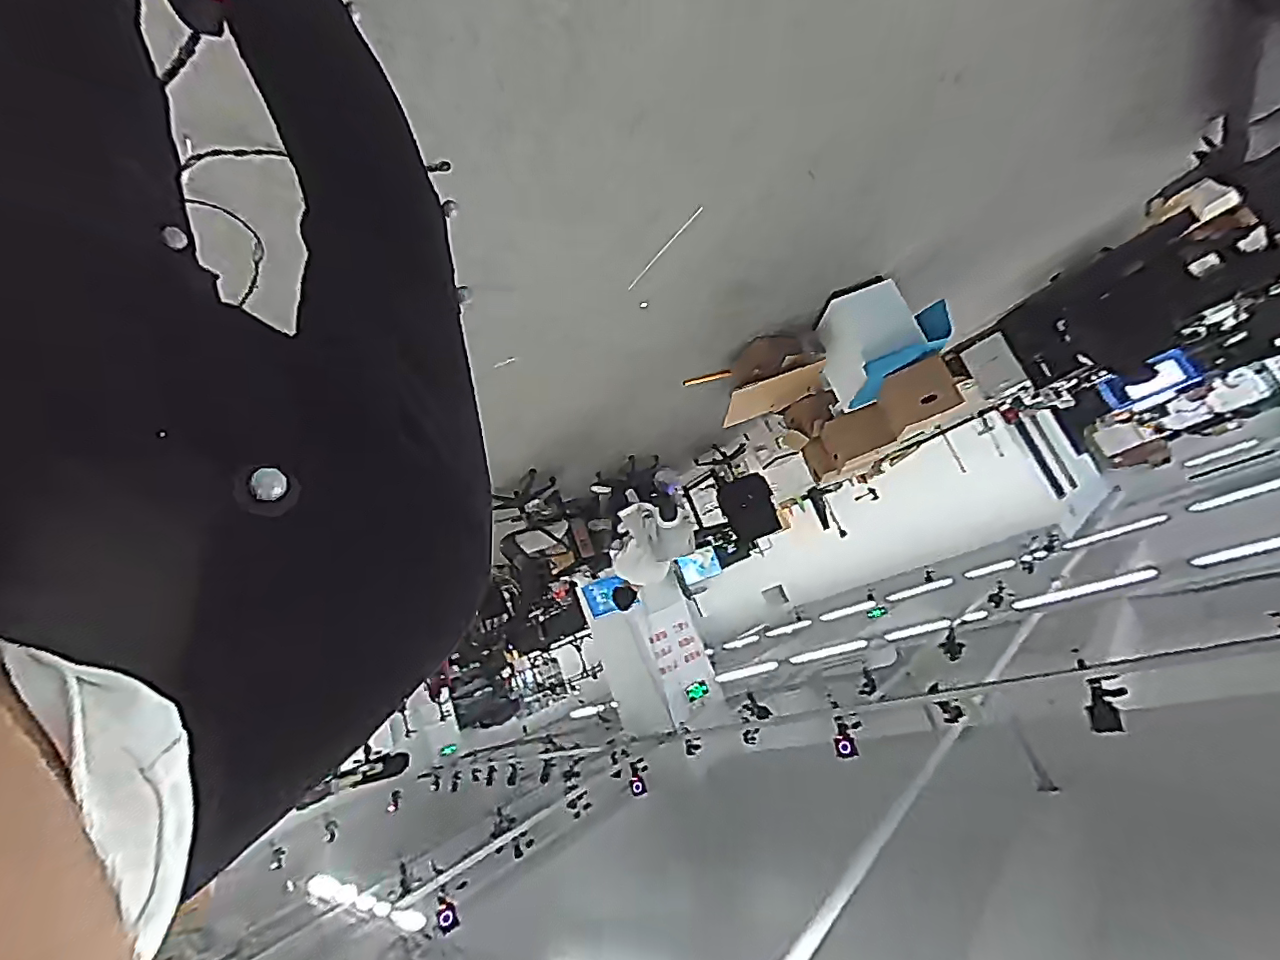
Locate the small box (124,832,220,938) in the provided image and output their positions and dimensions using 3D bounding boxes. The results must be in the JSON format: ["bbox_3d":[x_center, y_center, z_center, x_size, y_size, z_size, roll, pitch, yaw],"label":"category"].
[{"bbox_3d":[-1.285,1.099,1.490,0.179,0.176,0.168,-10,163,-40],"label":"small box"}]
